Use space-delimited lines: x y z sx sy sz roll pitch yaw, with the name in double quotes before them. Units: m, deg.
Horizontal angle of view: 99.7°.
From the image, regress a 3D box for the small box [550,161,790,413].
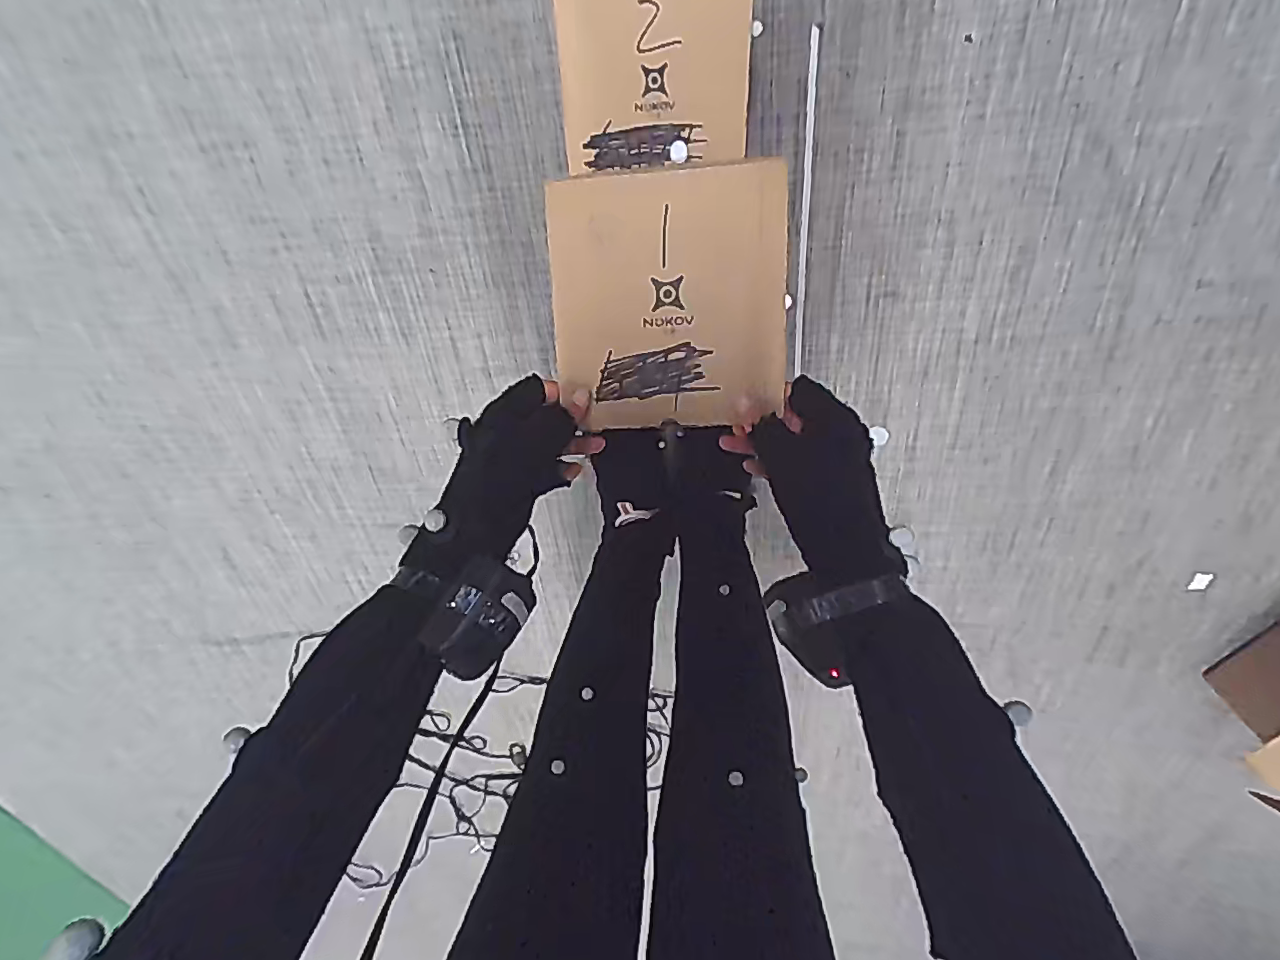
"small box" 0.032 -0.172 0.472 0.168 0.176 0.179 0 120 7
